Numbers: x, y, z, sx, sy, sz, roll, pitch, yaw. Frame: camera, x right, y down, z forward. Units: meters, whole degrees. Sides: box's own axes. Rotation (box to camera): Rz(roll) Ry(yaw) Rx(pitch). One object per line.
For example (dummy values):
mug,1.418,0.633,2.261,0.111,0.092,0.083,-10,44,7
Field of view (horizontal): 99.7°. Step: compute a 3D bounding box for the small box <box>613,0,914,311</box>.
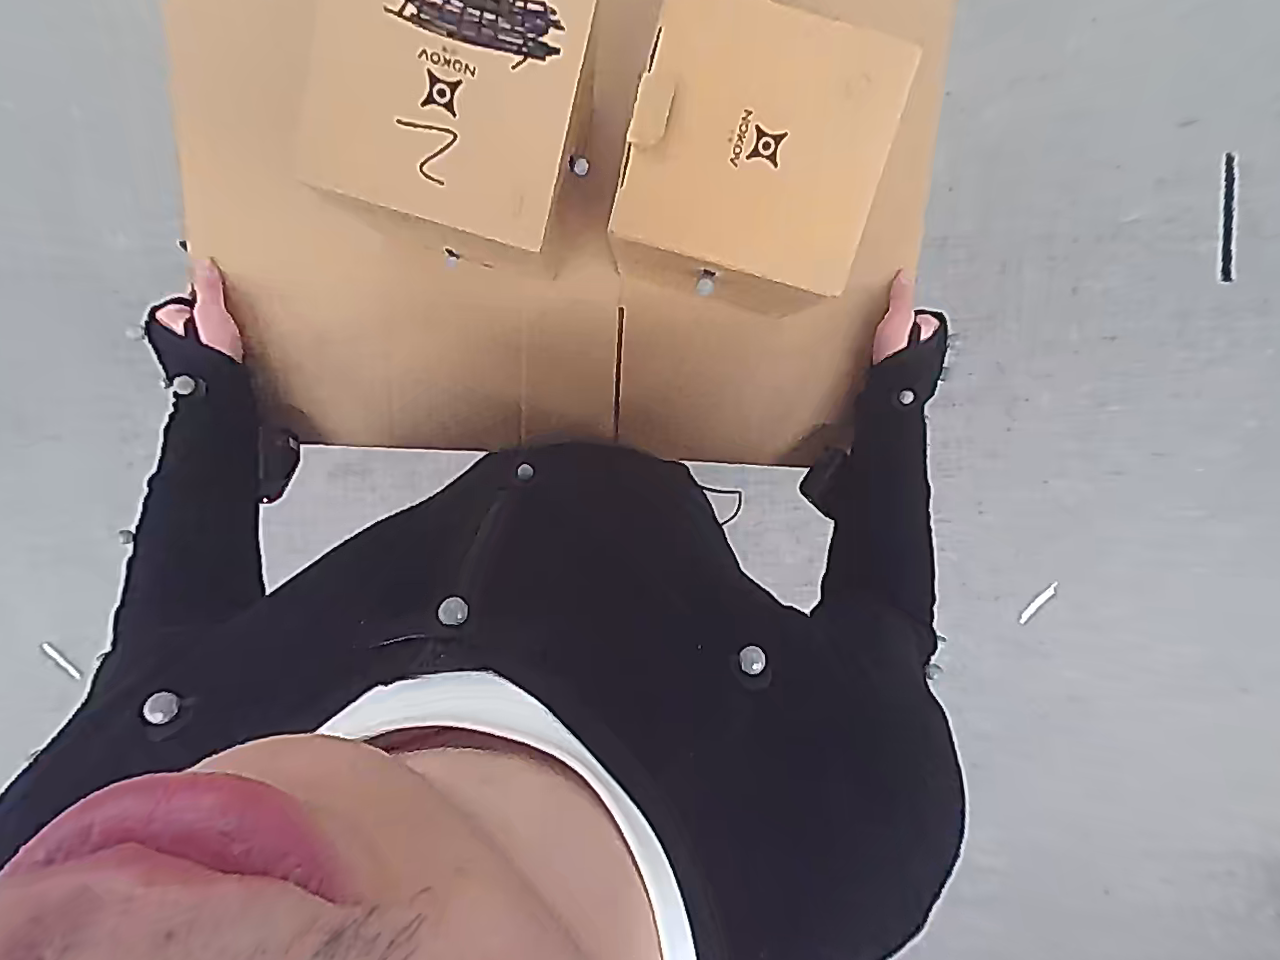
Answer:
small box,0.087,-0.250,0.461,0.179,0.176,0.168,16,101,-1
